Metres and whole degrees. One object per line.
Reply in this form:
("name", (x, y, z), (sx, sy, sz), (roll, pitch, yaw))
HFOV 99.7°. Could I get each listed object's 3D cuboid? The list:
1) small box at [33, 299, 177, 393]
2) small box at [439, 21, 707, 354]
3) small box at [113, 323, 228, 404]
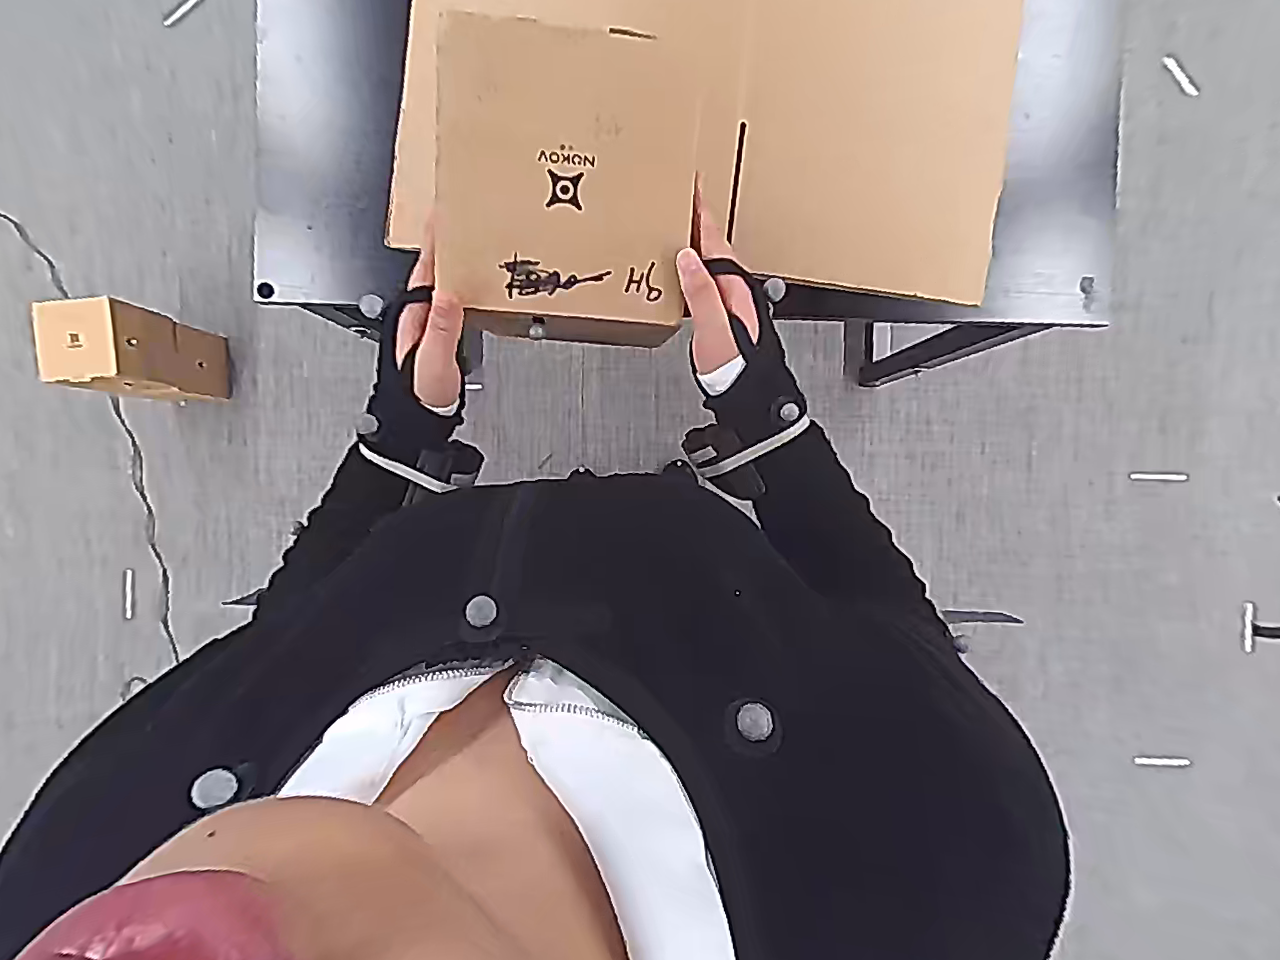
("small box", (-1.216, -0.299, 1.242), (0.168, 0.176, 0.179), (-5, 90, -1))
("small box", (-0.049, -0.203, 0.427), (0.168, 0.176, 0.179), (3, 97, -3))
("small box", (-1.215, -0.297, 1.405), (0.168, 0.176, 0.179), (-2, 92, 0))
